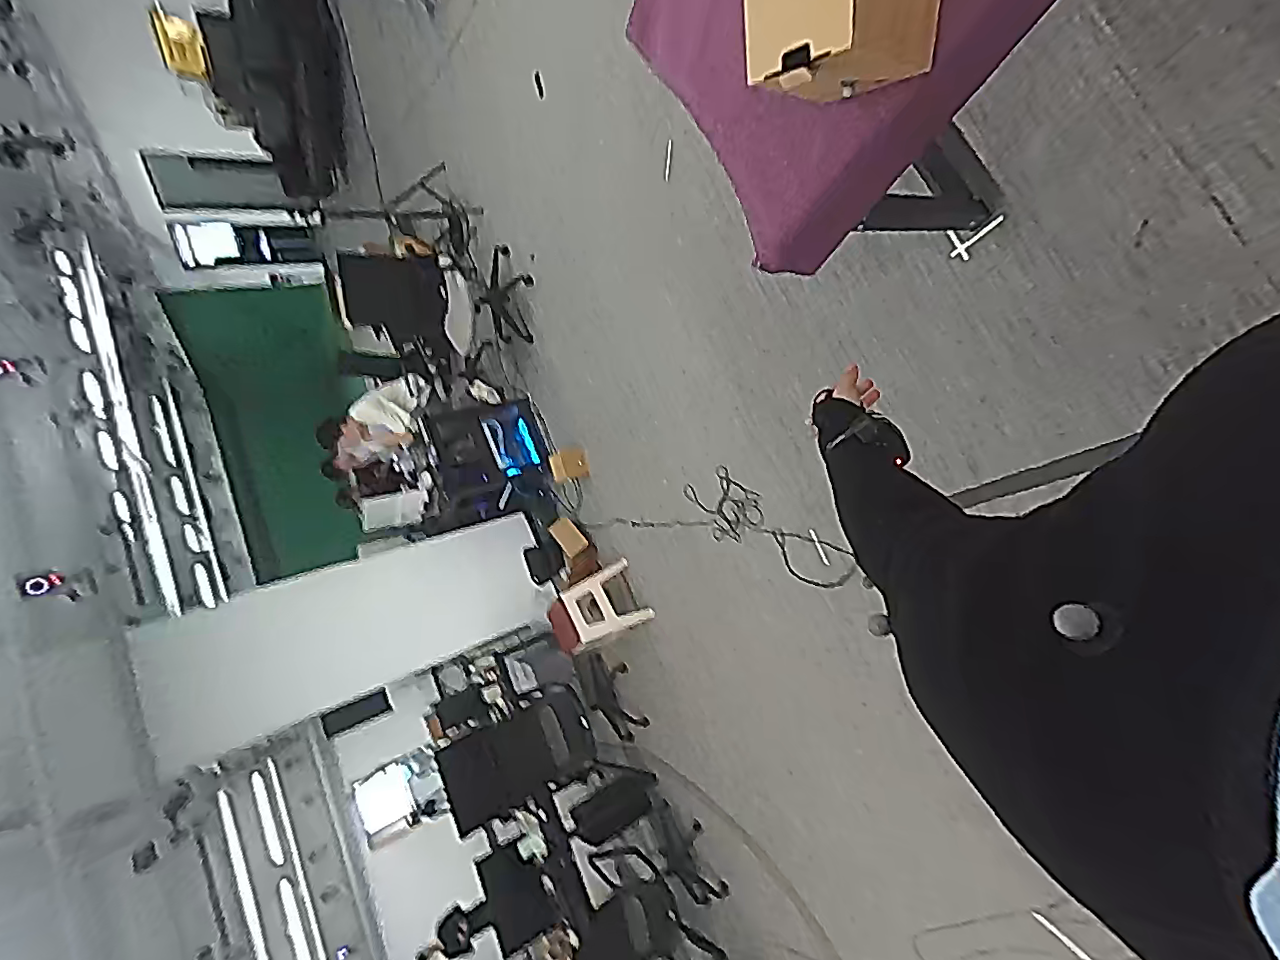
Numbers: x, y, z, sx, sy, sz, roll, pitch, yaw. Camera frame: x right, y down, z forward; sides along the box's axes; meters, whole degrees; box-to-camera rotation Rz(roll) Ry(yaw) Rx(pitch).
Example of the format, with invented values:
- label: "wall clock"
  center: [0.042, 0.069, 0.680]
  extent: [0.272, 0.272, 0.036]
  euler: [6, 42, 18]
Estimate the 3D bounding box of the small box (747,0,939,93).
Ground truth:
- label: "small box"
  center: [0.256, -0.616, 0.675]
  extent: [0.168, 0.176, 0.179]
  euler: [28, 126, 51]
